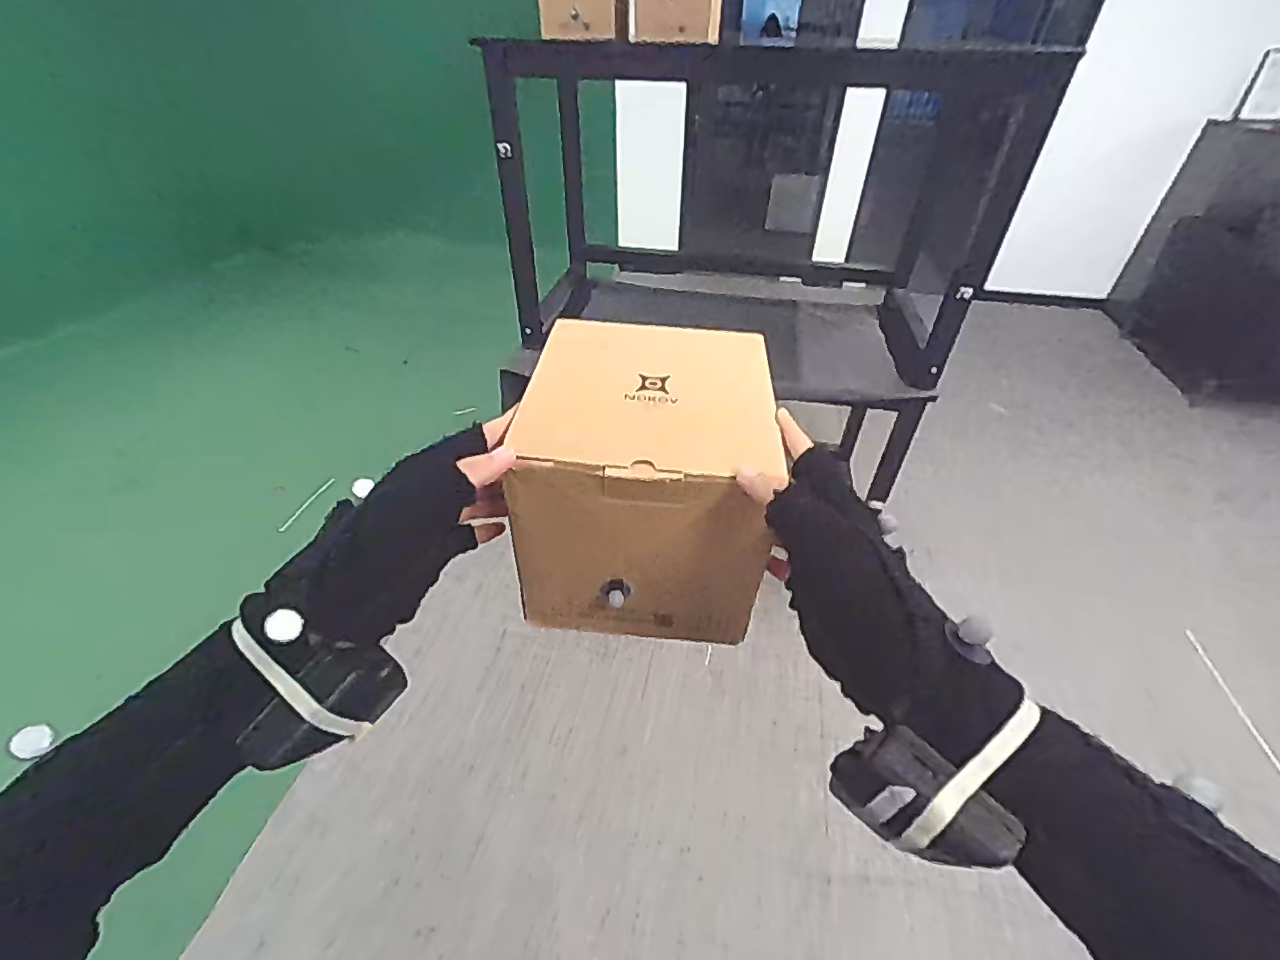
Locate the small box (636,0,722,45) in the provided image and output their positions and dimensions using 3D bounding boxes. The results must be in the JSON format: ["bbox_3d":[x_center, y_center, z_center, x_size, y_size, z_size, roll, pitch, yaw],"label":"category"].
[{"bbox_3d":[0.087,-1.044,1.161,0.168,0.176,0.179,9,41,8],"label":"small box"}]

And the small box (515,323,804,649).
[{"bbox_3d":[0.012,0.002,0.414,0.168,0.176,0.179,5,42,1],"label":"small box"}]
